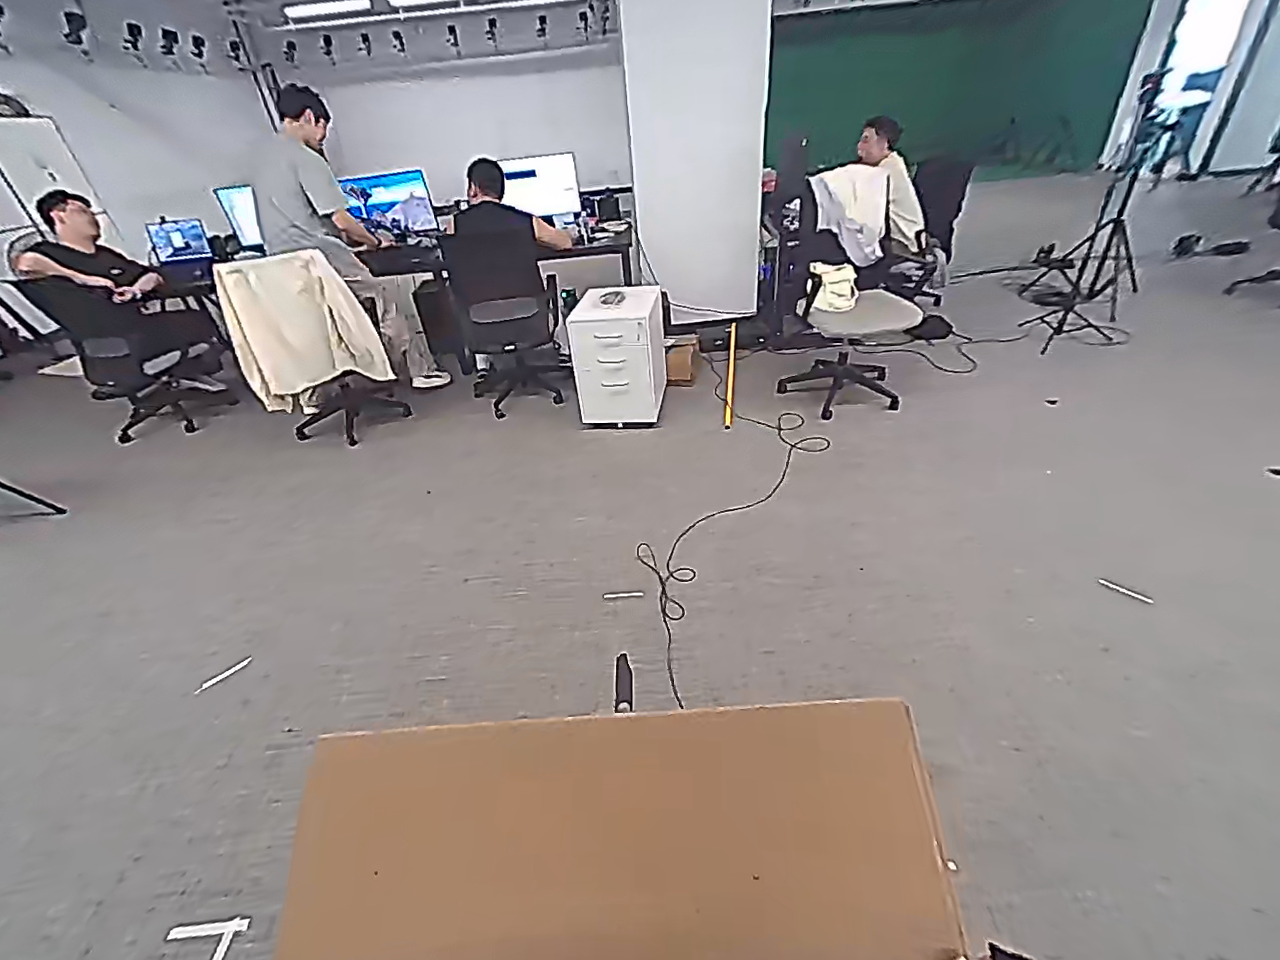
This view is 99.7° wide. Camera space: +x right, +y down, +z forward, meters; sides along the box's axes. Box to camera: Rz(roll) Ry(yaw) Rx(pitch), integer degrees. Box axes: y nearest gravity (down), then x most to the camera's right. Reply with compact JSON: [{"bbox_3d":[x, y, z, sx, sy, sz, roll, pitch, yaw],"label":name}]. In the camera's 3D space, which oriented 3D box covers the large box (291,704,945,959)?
[{"bbox_3d":[-0.006,0.375,0.450,0.408,0.320,0.320,-5,64,2],"label":"large box"}]
